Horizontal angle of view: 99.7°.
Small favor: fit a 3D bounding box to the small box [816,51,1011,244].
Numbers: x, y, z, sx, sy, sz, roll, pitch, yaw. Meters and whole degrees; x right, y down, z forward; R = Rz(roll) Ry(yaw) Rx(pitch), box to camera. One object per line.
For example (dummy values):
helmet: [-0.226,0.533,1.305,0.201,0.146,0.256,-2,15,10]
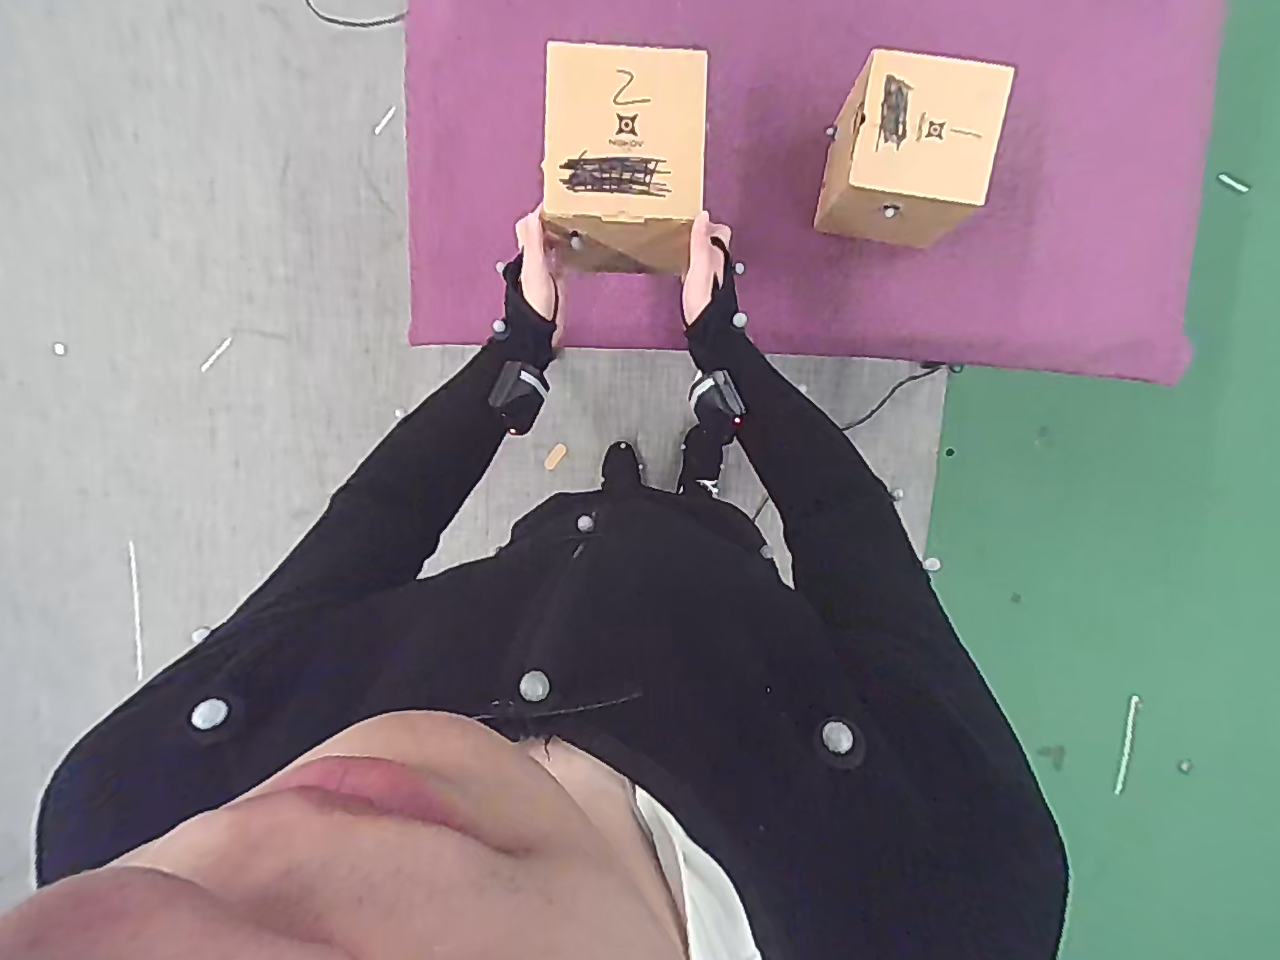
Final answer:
small box: [0.363,-0.448,0.756,0.179,0.176,0.168,10,97,1]
